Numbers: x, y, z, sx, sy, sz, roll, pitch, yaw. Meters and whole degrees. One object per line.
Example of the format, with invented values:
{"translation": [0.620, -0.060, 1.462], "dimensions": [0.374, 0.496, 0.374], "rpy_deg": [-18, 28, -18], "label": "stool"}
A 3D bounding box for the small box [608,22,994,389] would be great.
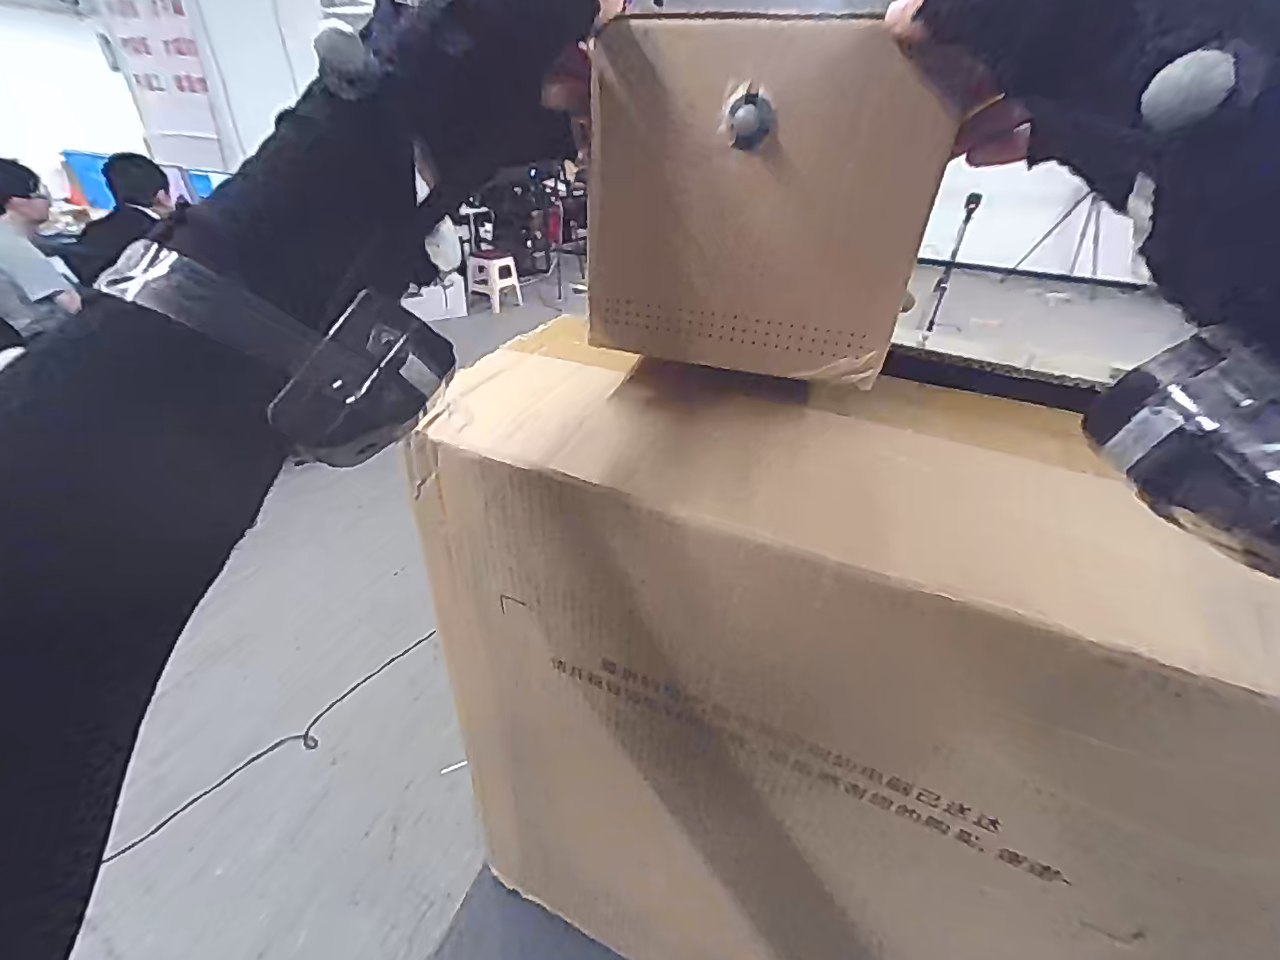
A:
{"translation": [0.084, -0.173, 0.351], "dimensions": [0.179, 0.176, 0.168], "rpy_deg": [13, 36, 11], "label": "small box"}
